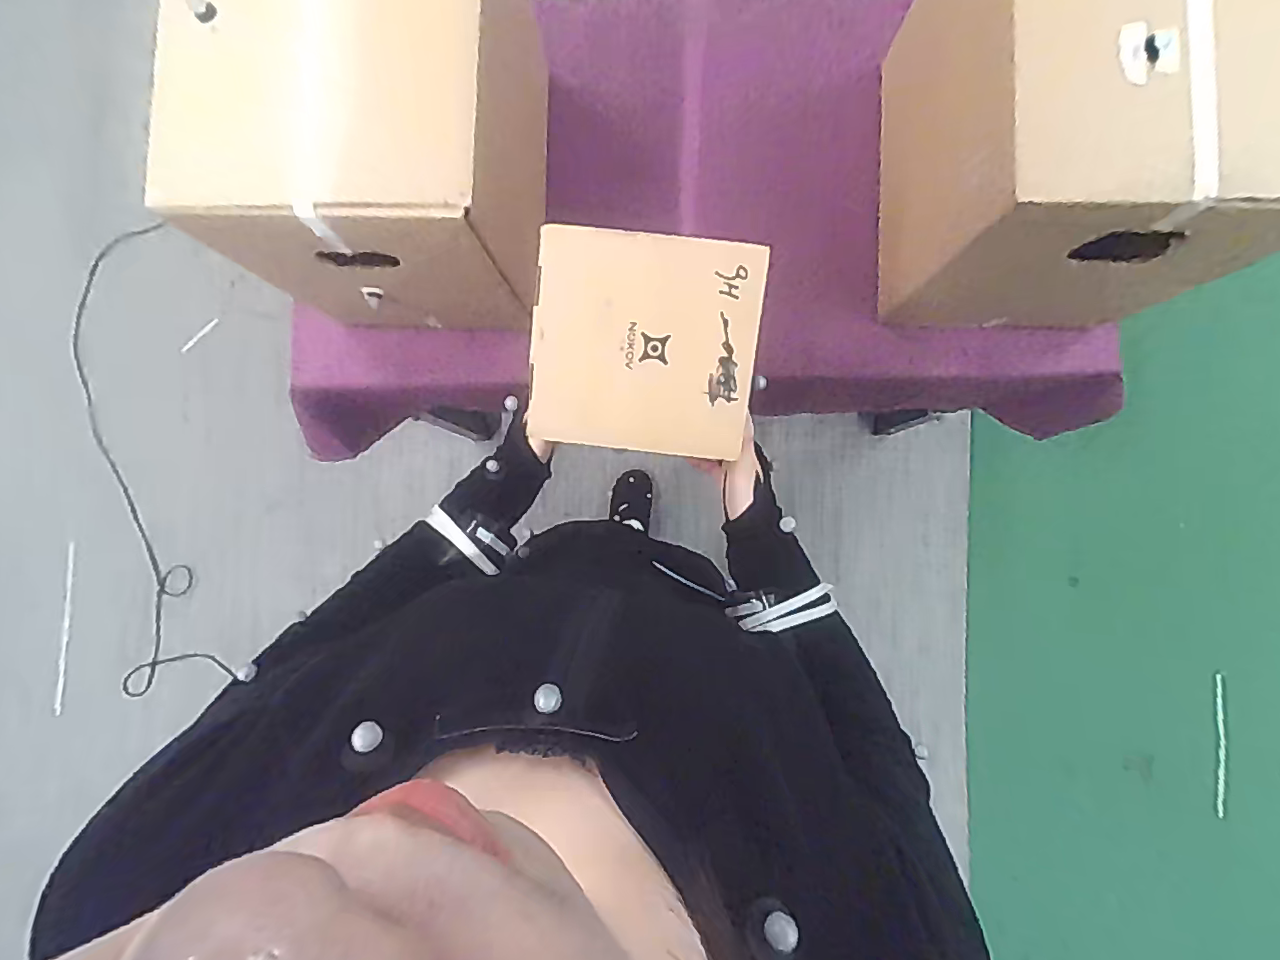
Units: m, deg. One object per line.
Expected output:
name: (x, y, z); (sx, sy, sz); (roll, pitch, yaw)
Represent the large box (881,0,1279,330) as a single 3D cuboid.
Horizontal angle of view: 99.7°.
large box: (0.507, -0.430, 0.652); (0.320, 0.320, 0.408); (3, 87, 2)
